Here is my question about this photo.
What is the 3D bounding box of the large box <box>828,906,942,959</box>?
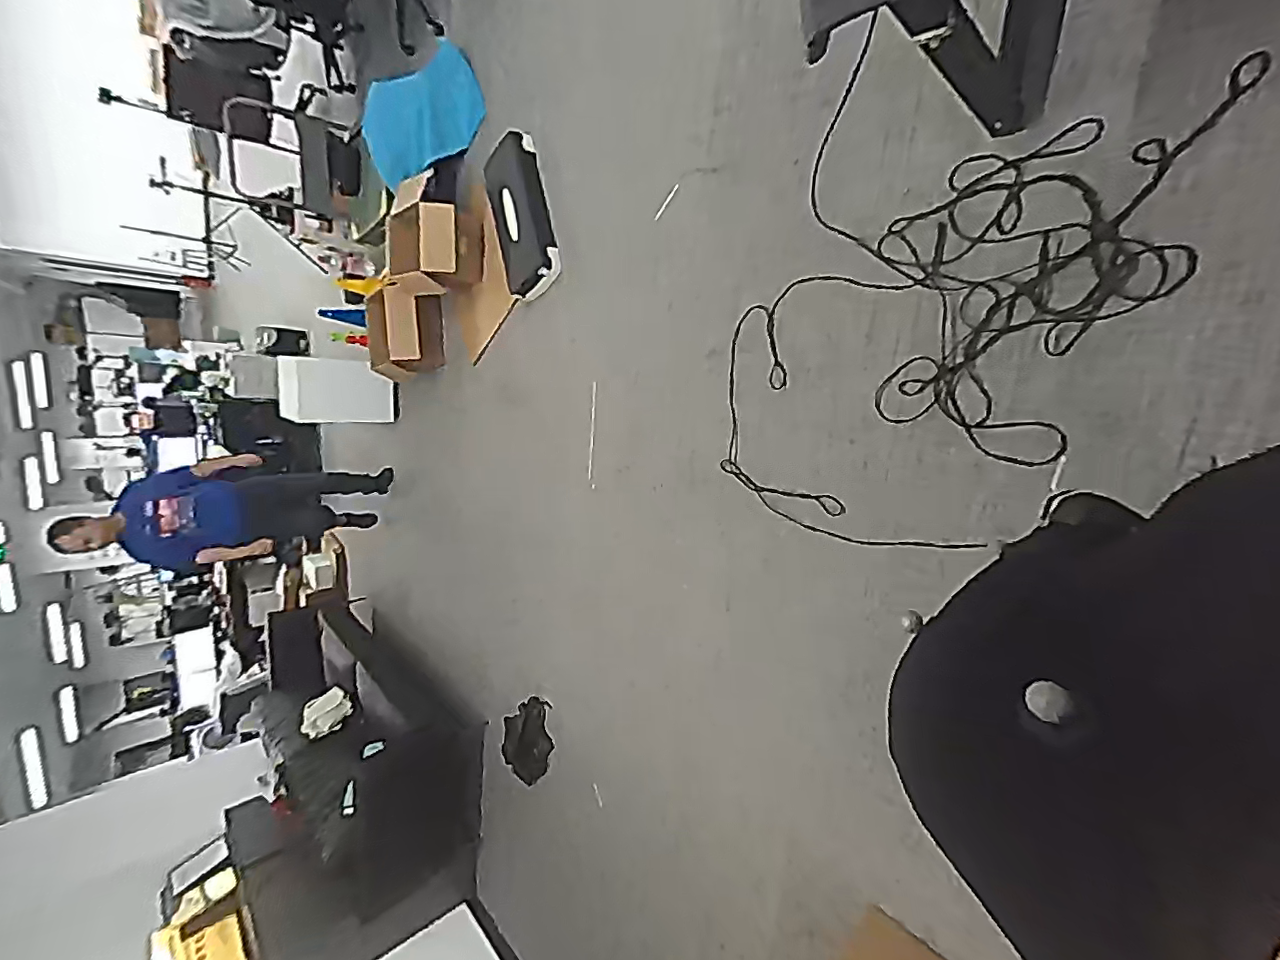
[{"bbox_3d":[0.647,1.362,1.277,0.408,0.320,0.320,17,106,46],"label":"large box"}]
